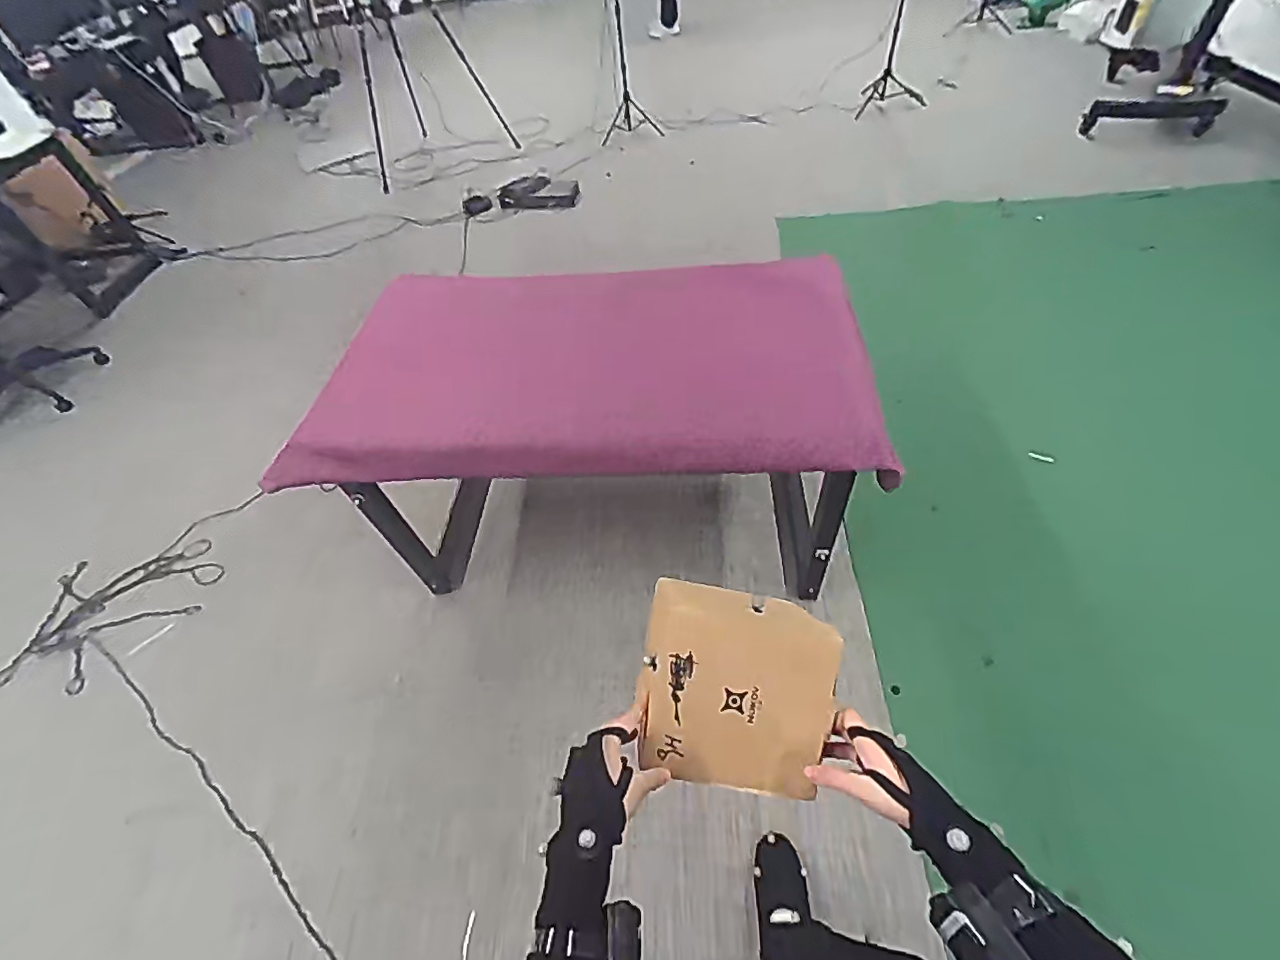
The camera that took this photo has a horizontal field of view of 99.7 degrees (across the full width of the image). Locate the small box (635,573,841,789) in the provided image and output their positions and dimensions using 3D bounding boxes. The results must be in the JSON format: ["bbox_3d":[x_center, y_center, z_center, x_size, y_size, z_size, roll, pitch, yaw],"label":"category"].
[{"bbox_3d":[0.094,0.205,0.599,0.179,0.176,0.168,10,88,-1],"label":"small box"}]
